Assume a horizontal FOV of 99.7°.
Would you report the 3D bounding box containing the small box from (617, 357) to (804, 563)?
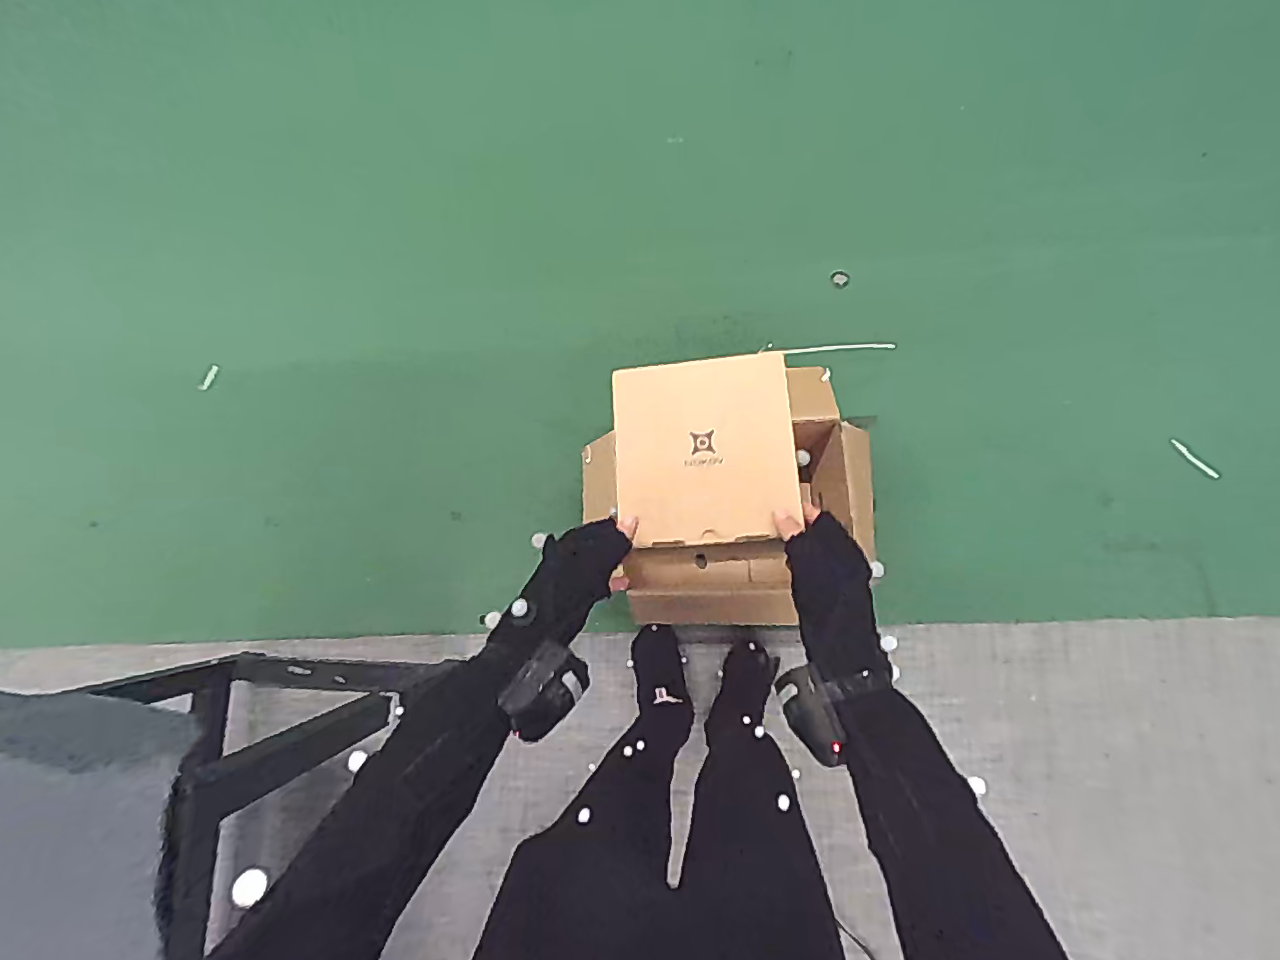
[{"bbox_3d":[0.072,-0.009,0.581,0.168,0.176,0.179,-5,76,8],"label":"small box"}]
